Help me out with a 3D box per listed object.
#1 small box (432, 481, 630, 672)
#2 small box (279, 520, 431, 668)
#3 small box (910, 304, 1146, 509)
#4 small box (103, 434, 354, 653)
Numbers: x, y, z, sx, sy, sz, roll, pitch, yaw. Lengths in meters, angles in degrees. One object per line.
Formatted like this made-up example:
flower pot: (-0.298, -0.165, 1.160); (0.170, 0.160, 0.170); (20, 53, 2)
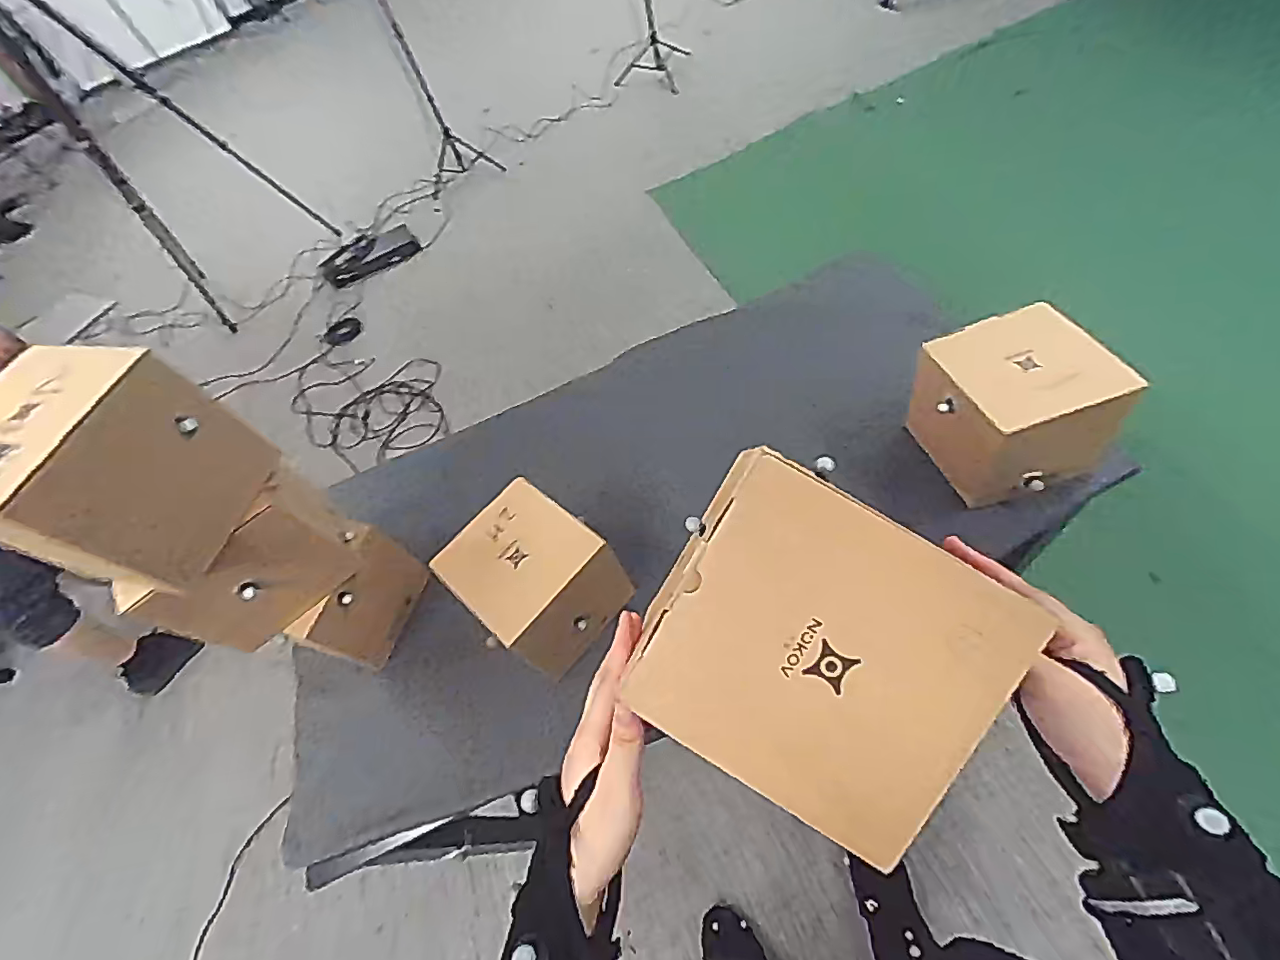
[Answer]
small box: (-0.138, 0.139, 0.740); (0.179, 0.176, 0.168); (33, 71, 31)
small box: (-0.457, 0.166, 0.811); (0.179, 0.176, 0.168); (9, 61, 20)
small box: (0.483, -0.092, 0.714); (0.168, 0.176, 0.179); (-20, 52, 4)
small box: (-0.492, 0.083, 0.672); (0.179, 0.176, 0.168); (-42, 58, -12)
